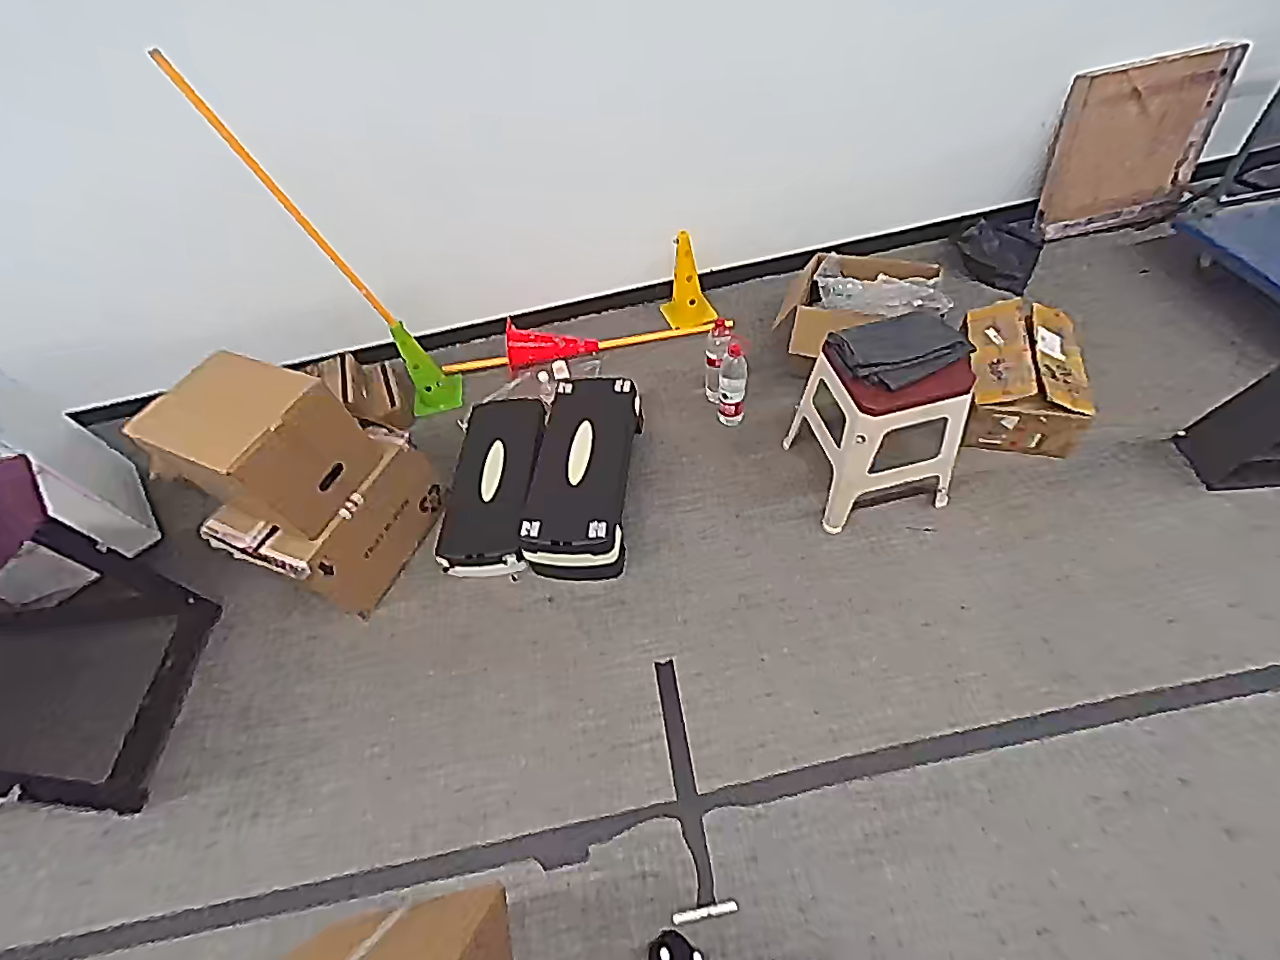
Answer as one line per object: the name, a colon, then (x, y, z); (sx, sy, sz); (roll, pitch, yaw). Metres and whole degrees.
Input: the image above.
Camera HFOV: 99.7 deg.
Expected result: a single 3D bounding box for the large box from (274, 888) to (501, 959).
large box: (-0.355, 0.782, 0.664); (0.320, 0.408, 0.320); (-10, 70, -5)
